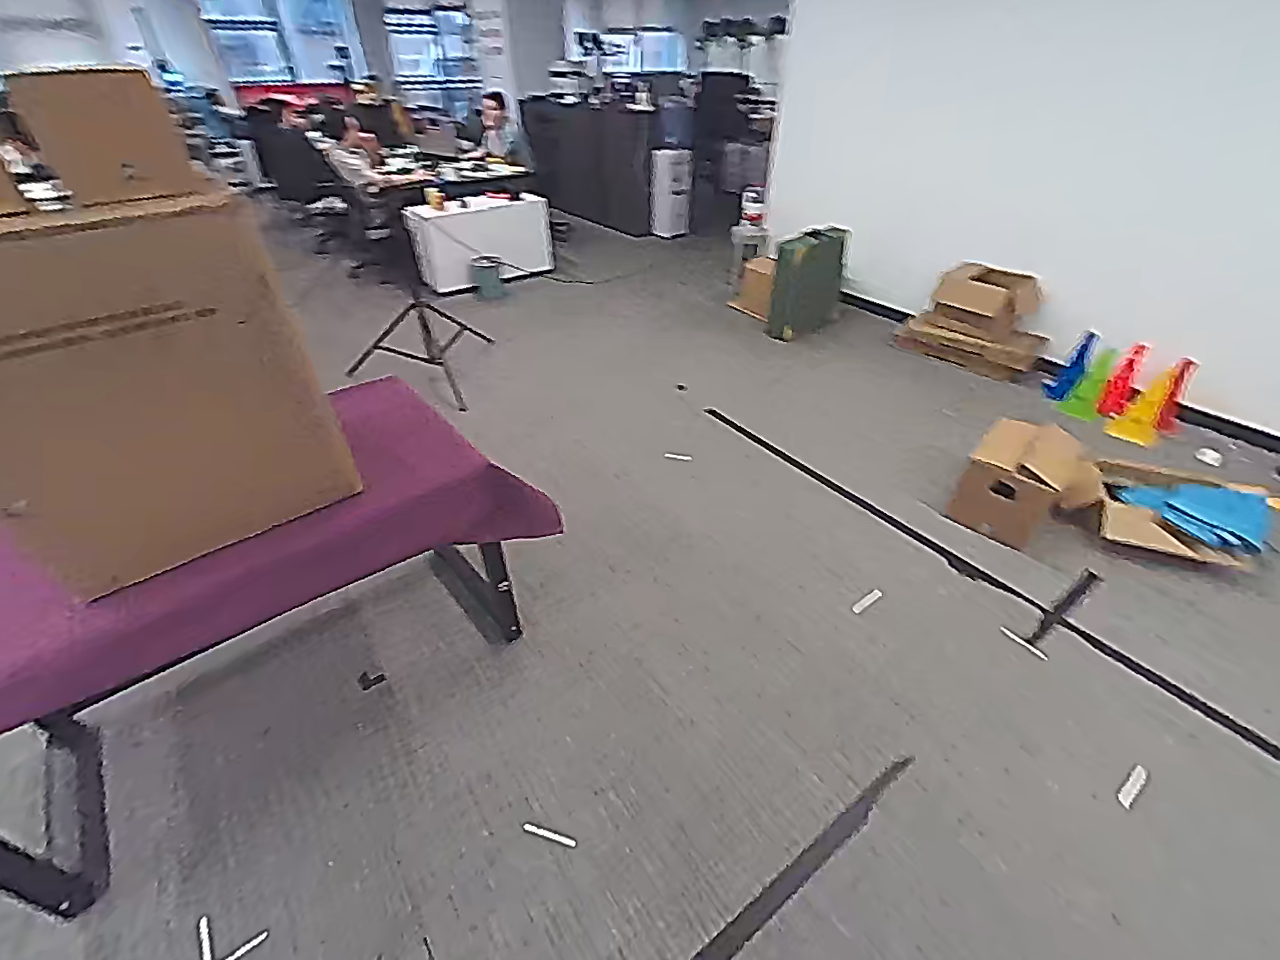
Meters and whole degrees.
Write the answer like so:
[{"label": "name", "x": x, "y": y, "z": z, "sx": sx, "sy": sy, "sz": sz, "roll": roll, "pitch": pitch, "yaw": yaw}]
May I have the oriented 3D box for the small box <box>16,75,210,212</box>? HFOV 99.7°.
[{"label": "small box", "x": -0.846, "y": -0.556, "z": 0.888, "sx": 0.179, "sy": 0.176, "sz": 0.168, "roll": -26, "pitch": 45, "yaw": -29}]
